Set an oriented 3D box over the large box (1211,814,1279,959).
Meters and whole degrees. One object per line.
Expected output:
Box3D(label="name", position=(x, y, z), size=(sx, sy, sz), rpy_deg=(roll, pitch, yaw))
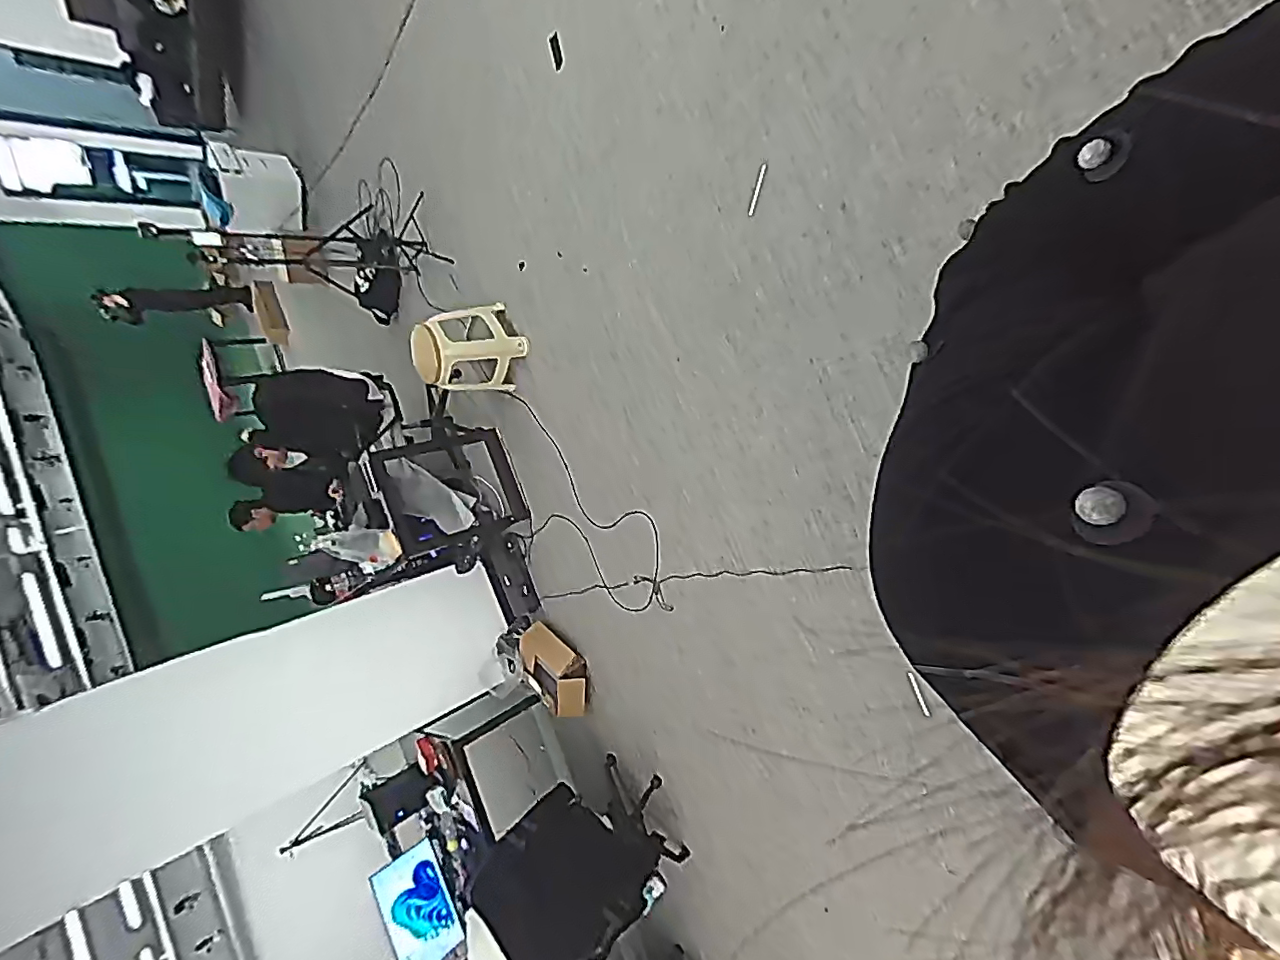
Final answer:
Box3D(label="large box", position=(1.190, 0.722, 0.783), size=(0.408, 0.320, 0.320), rpy_deg=(-44, 70, 47))
